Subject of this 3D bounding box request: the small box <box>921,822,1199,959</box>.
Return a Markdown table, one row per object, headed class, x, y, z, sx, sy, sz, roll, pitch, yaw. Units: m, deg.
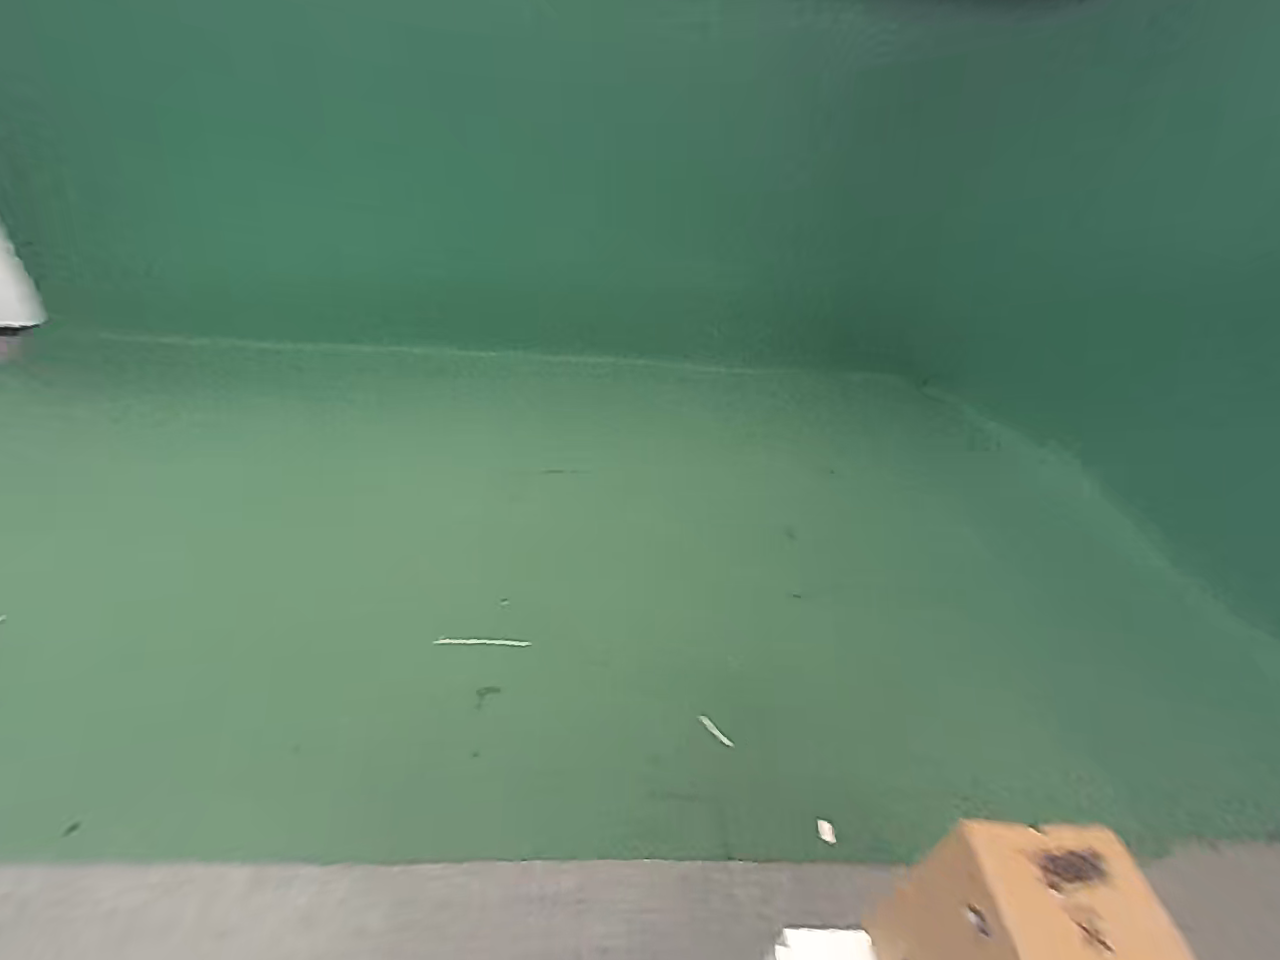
| class | x | y | z | sx | sy | sz | roll | pitch | yaw |
| --- | --- | --- | --- | --- | --- | --- | --- | --- | --- |
| small box | 0.425 | 0.487 | 0.558 | 0.168 | 0.176 | 0.179 | 4 | 37 | -1 |
